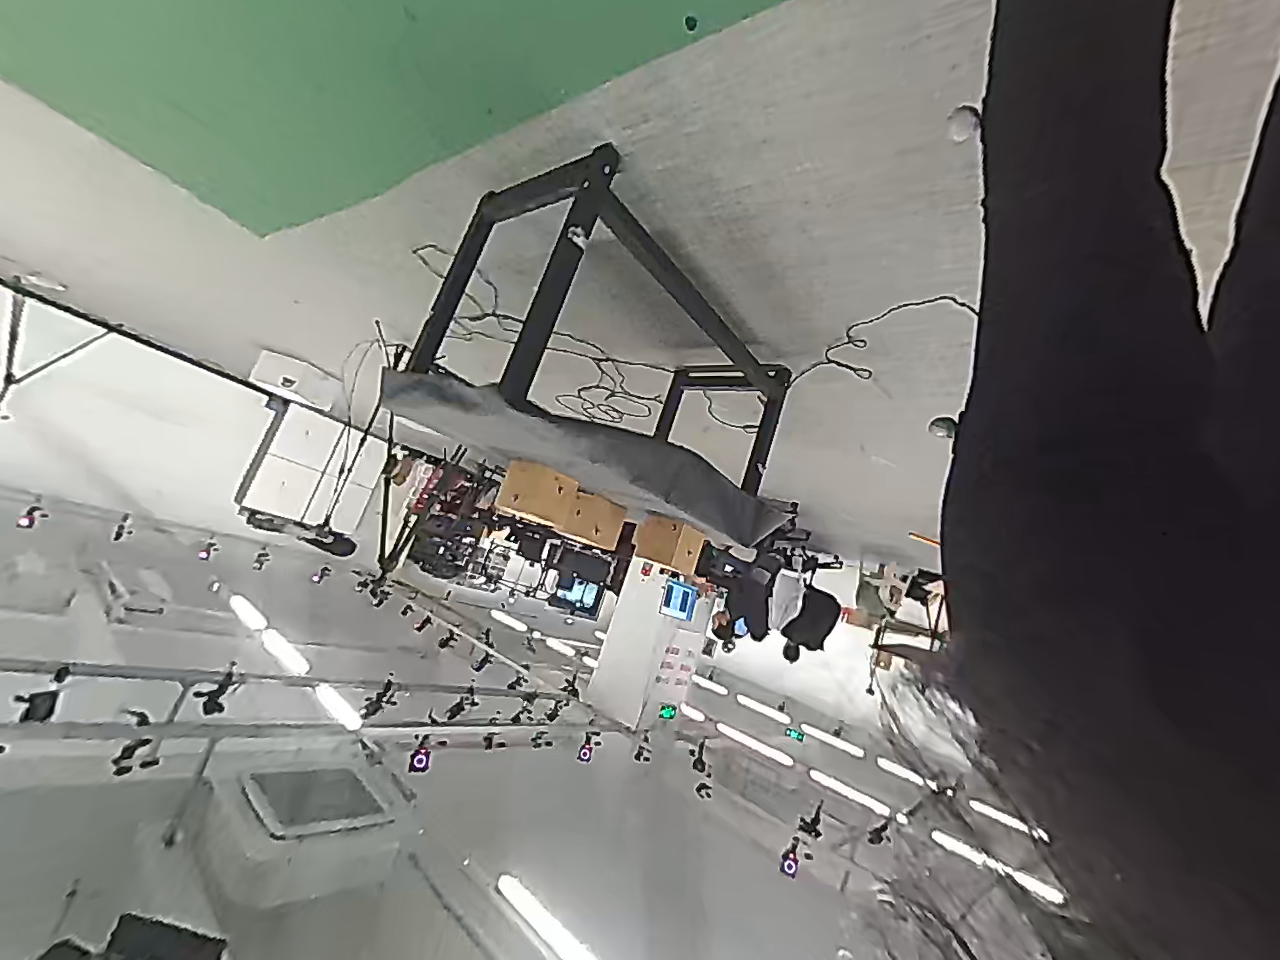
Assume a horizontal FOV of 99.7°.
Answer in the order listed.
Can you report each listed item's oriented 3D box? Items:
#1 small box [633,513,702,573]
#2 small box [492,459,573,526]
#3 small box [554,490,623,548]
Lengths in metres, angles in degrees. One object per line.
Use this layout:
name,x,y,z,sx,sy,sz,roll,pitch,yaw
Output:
small box,0.105,0.231,2.010,0.168,0.176,0.179,11,168,37
small box,-0.349,0.038,1.789,0.179,0.176,0.168,8,166,38
small box,-0.193,0.145,2.057,0.168,0.176,0.179,8,166,40
